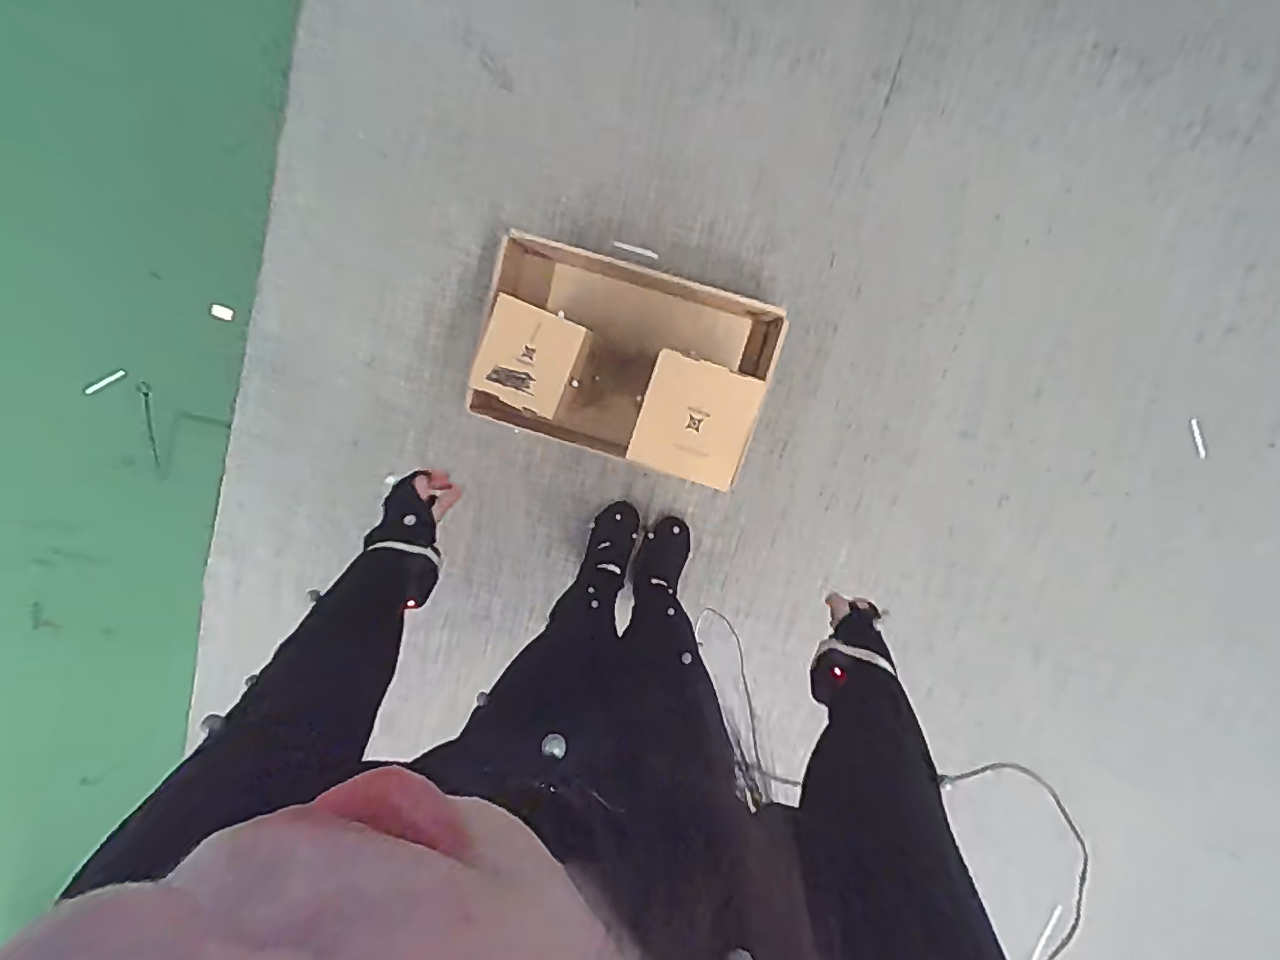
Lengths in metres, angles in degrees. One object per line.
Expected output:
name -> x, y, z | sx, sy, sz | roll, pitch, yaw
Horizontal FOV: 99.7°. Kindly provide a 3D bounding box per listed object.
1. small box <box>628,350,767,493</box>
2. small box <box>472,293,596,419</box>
small box -> 0.088, -0.099, 0.888 | 0.168, 0.176, 0.179 | 20, 100, 0
small box -> -0.193, -0.231, 1.042 | 0.168, 0.176, 0.179 | 23, 99, -2
